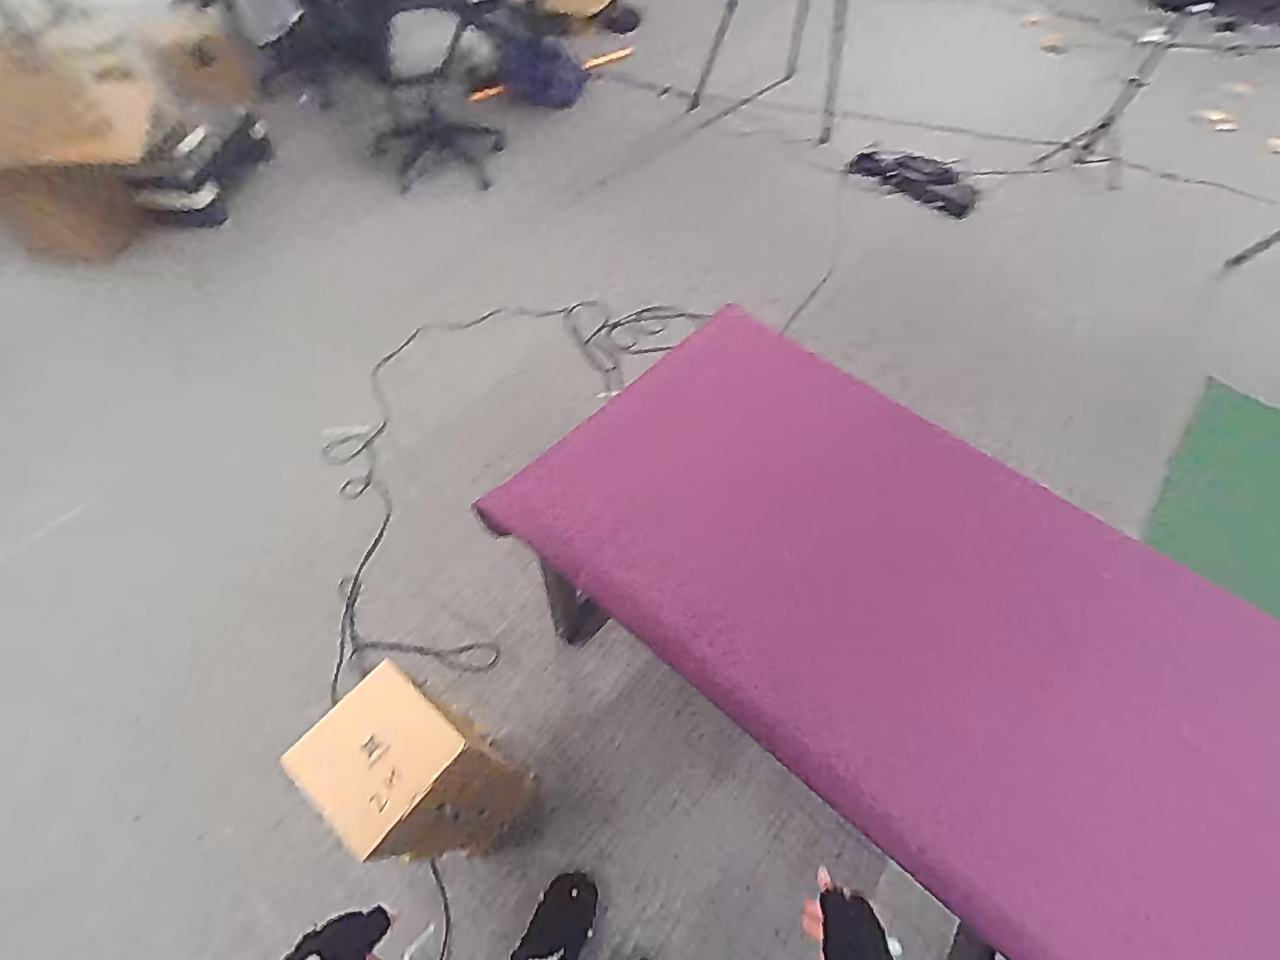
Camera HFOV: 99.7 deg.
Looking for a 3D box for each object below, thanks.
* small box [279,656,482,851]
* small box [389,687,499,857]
[{"bbox_3d":[-0.354,0.388,0.770,0.179,0.176,0.168,37,63,18],"label":"small box"},{"bbox_3d":[-0.355,0.484,0.904,0.168,0.176,0.179,36,63,18],"label":"small box"}]
